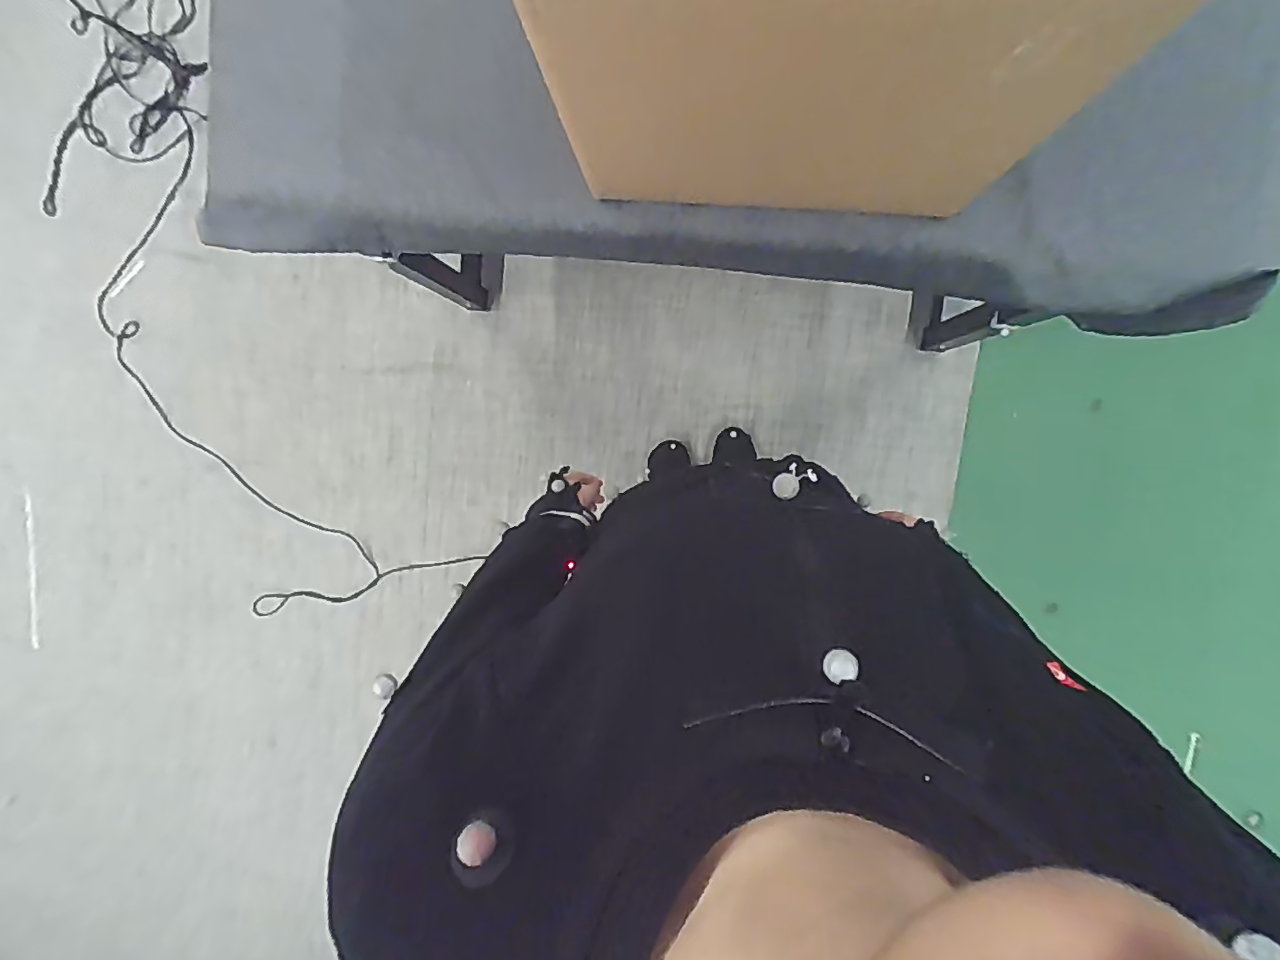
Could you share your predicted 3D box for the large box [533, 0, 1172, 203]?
[{"bbox_3d":[0.141,-0.454,0.449,0.408,0.320,0.320,4,95,4],"label":"large box"}]
